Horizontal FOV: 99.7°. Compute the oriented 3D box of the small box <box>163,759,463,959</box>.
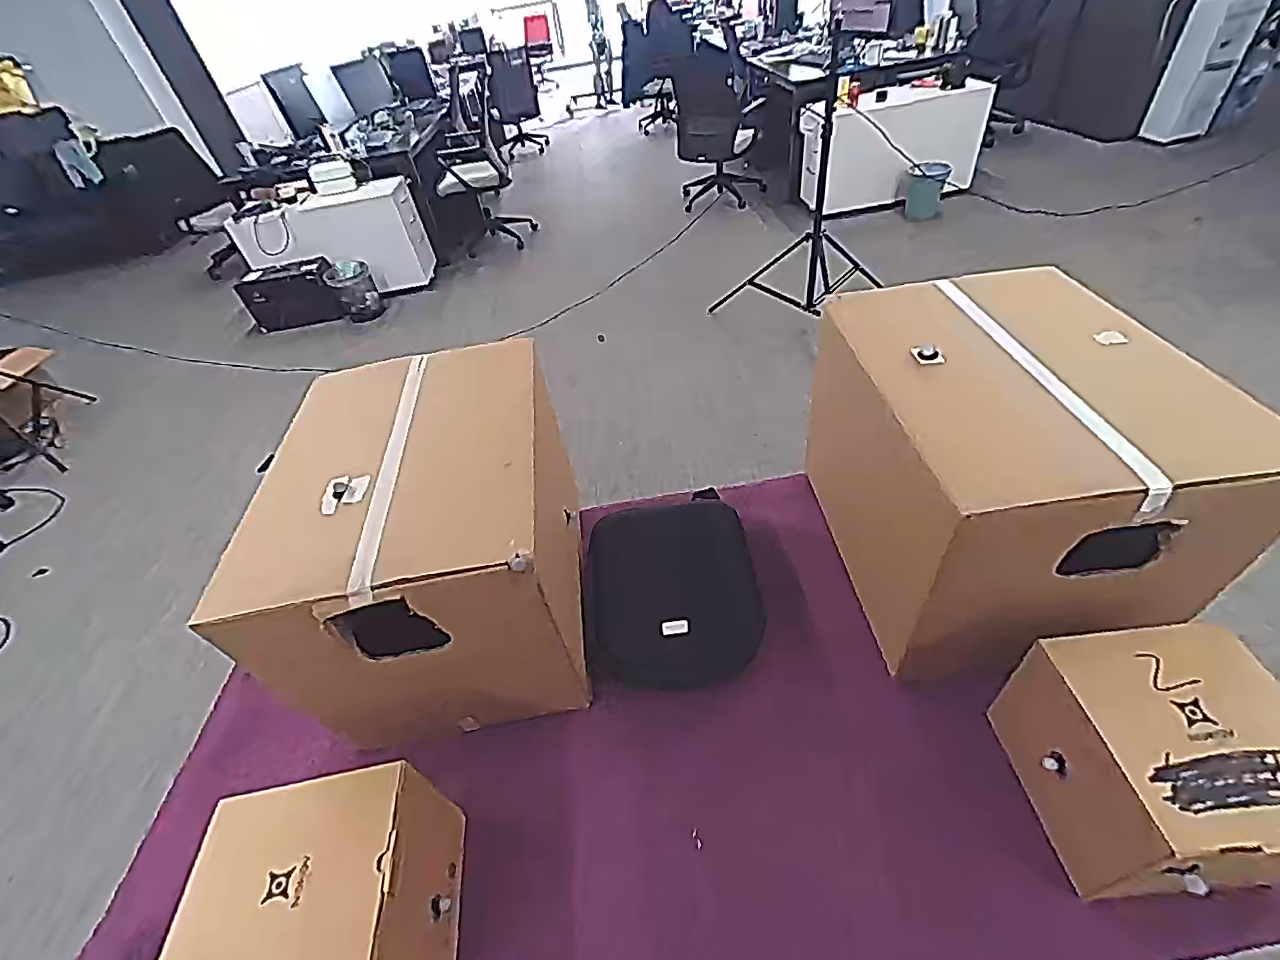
[{"bbox_3d":[-0.285,0.394,0.504,0.179,0.176,0.168,-12,42,-3],"label":"small box"}]

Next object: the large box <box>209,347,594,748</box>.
[{"bbox_3d":[-0.254,0.079,0.730,0.320,0.320,0.408,-12,45,-1],"label":"large box"}]
